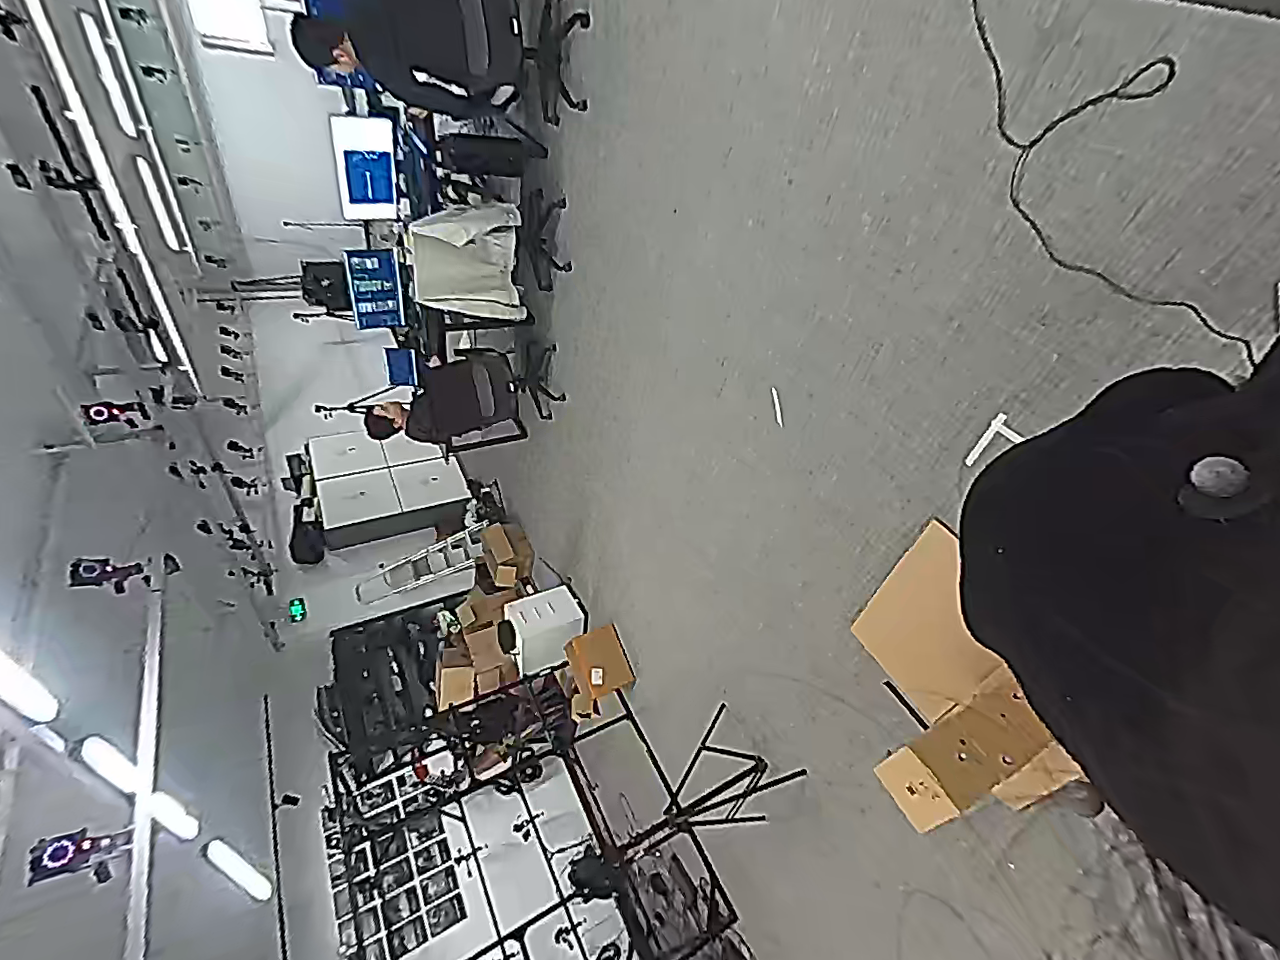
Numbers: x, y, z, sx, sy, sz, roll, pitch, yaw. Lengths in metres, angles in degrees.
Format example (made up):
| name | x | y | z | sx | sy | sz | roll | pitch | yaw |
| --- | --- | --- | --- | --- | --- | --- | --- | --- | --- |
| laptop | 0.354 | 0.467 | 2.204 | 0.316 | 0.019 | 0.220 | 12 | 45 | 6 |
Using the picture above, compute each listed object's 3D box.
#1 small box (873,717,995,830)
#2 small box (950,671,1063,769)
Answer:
| name | x | y | z | sx | sy | sz | roll | pitch | yaw |
| --- | --- | --- | --- | --- | --- | --- | --- | --- | --- |
| small box | 0.733 | 0.728 | 1.349 | 0.168 | 0.176 | 0.179 | 55 | 145 | 35 |
| small box | 1.019 | 0.658 | 1.497 | 0.168 | 0.176 | 0.179 | 57 | 147 | 34 |
